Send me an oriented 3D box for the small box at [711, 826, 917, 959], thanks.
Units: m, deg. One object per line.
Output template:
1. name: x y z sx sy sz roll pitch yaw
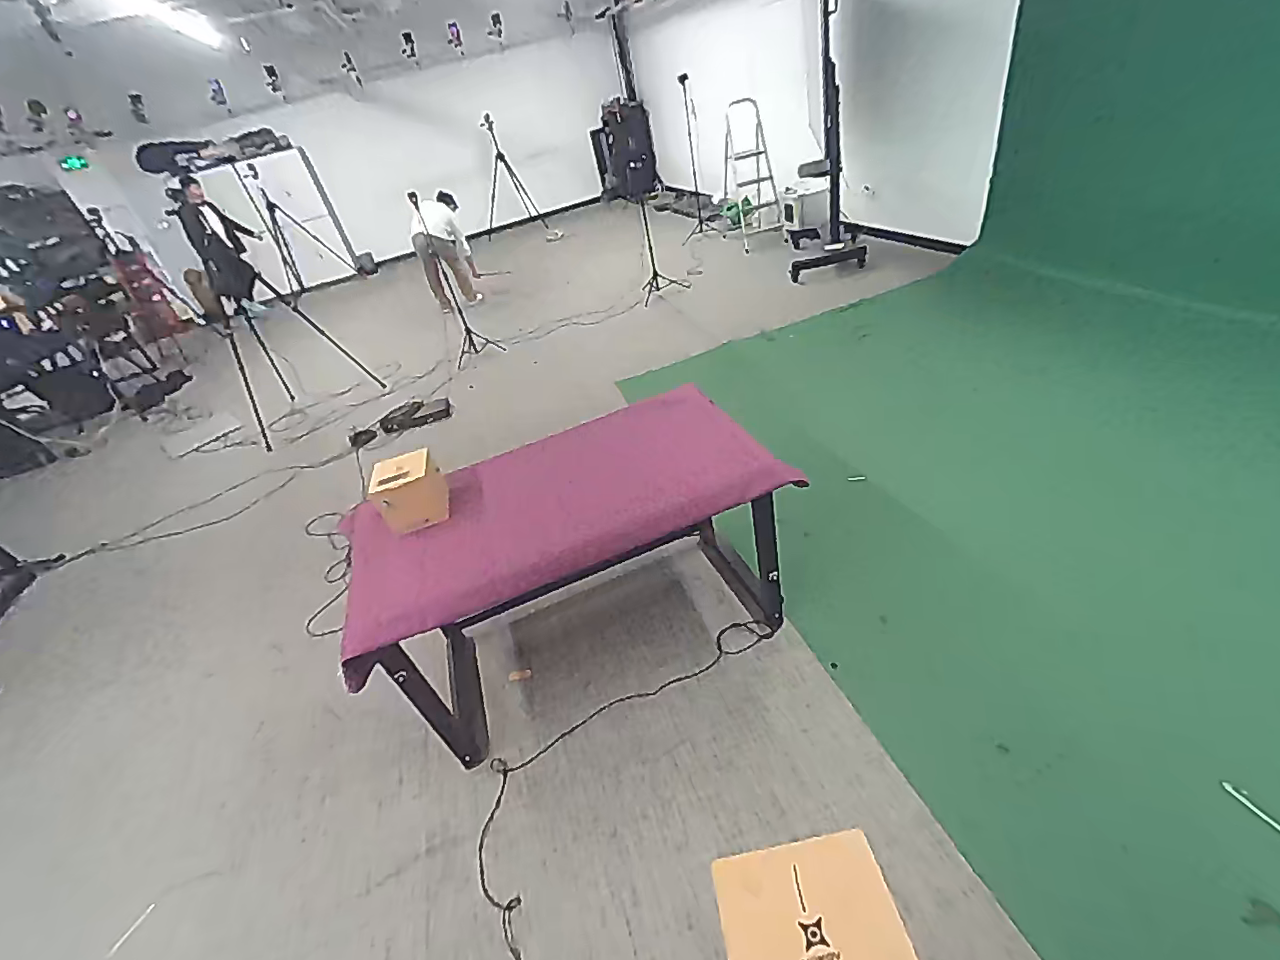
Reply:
1. small box: 0.178 0.487 0.531 0.168 0.176 0.179 -14 29 2
